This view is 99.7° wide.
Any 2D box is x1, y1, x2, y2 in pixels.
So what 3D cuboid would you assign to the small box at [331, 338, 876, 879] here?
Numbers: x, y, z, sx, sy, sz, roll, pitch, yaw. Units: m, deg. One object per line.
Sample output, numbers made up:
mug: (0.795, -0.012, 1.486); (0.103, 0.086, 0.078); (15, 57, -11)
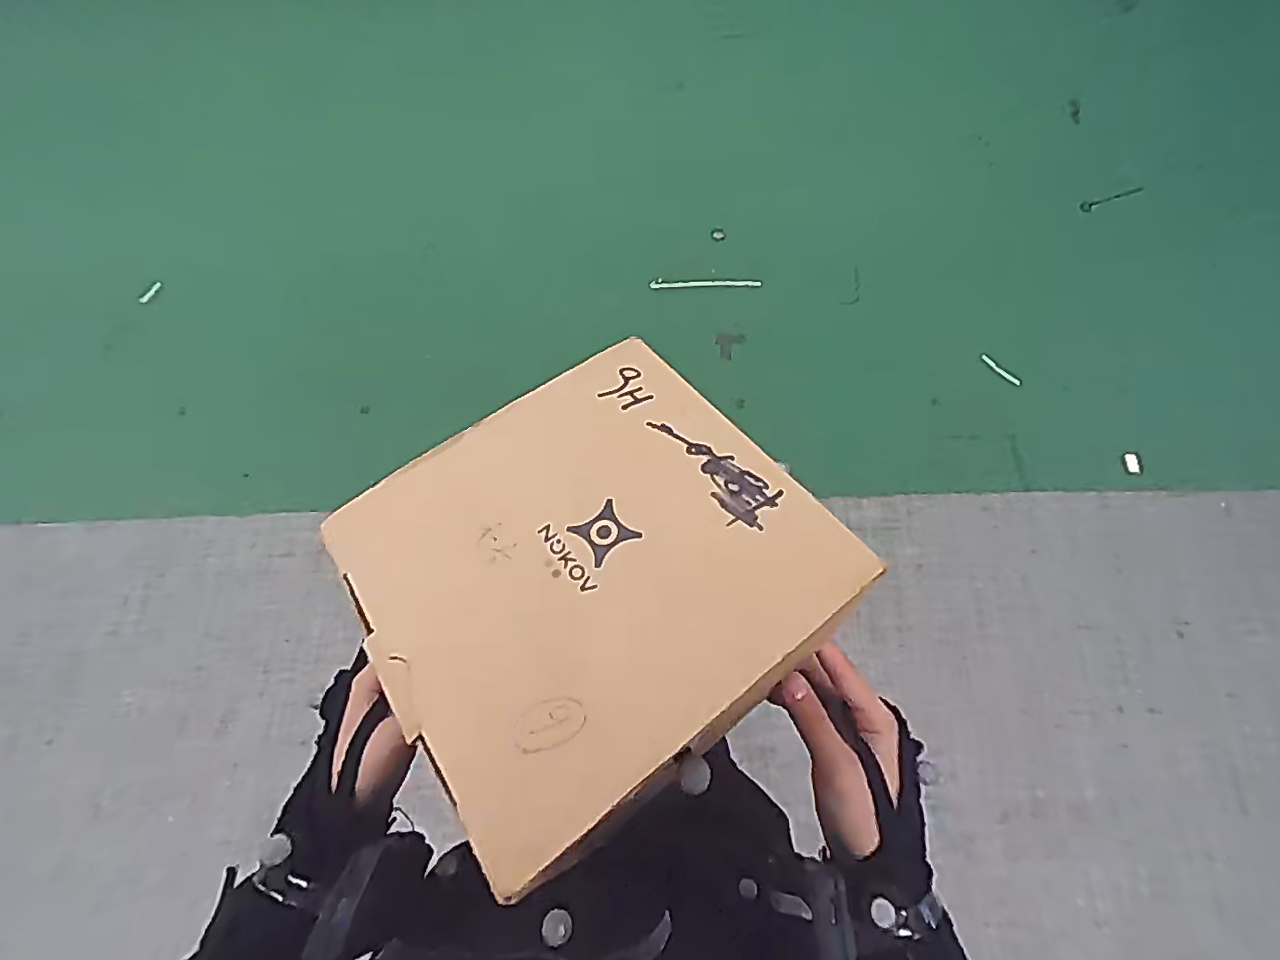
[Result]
small box: (-0.015, 0.067, 0.291); (0.179, 0.176, 0.168); (-35, 62, -15)
